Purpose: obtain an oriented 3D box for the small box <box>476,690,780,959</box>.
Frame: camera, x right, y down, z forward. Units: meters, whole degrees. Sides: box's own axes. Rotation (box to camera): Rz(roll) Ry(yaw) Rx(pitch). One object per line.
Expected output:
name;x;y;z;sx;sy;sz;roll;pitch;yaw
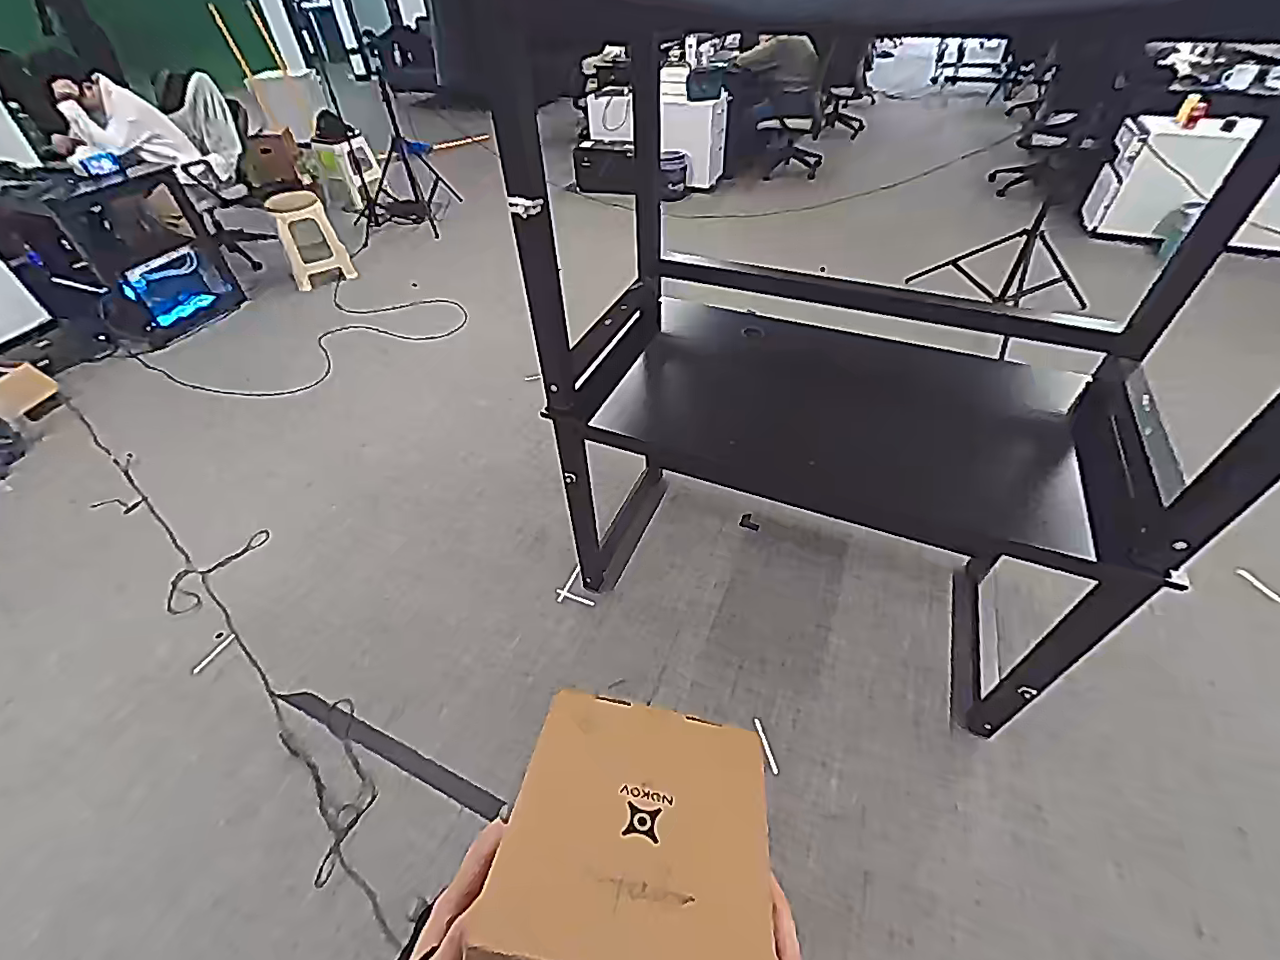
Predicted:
small box;-0.007;0.289;0.382;0.168;0.176;0.179;10;26;4
